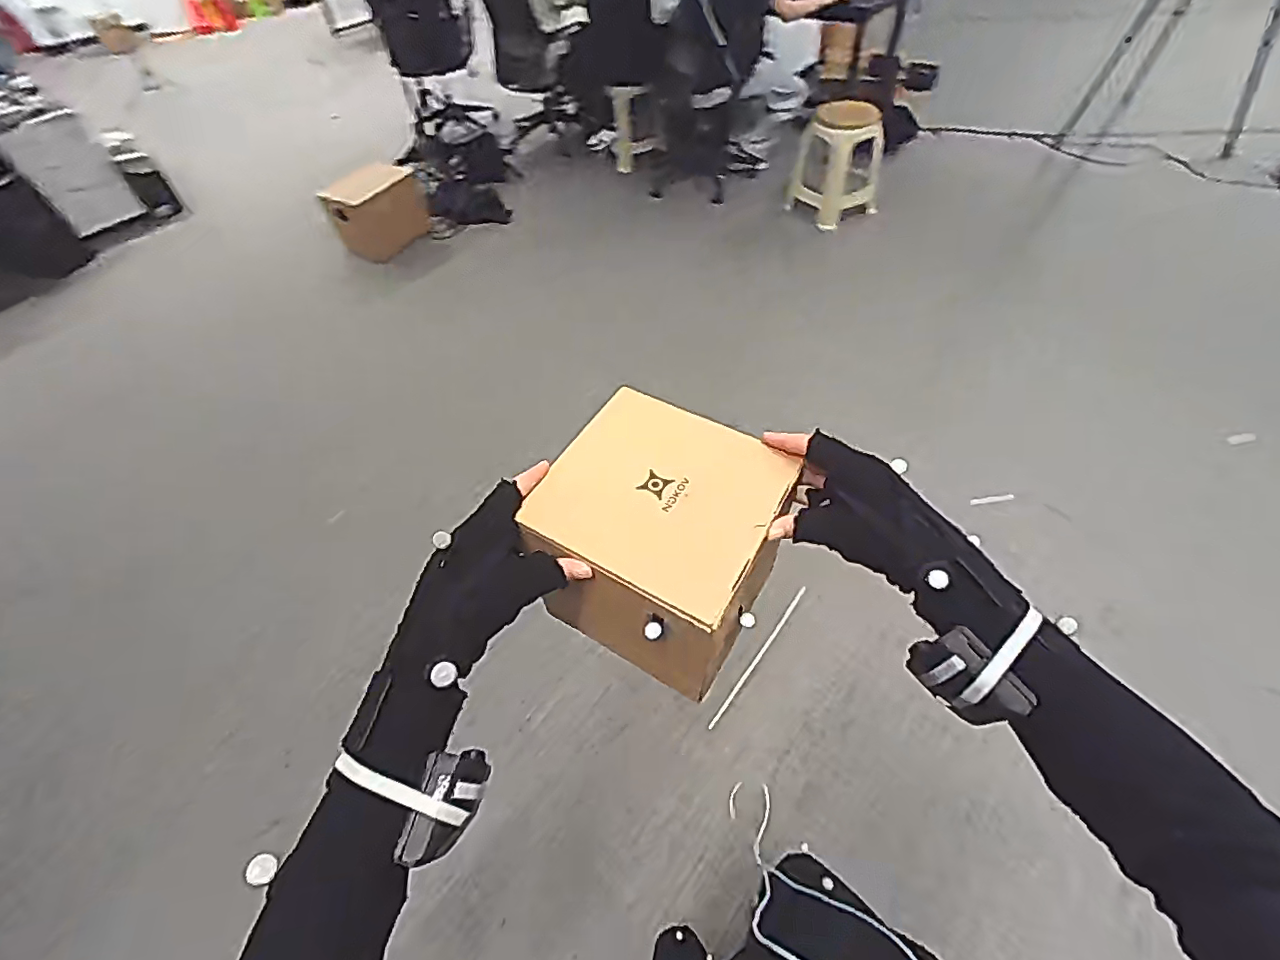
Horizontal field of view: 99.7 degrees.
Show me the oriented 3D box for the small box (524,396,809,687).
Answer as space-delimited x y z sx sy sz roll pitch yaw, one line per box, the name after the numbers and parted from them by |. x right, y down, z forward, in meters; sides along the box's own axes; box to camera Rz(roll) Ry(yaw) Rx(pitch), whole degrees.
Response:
0.025 0.059 0.493 0.179 0.176 0.168 26 58 20 | small box
